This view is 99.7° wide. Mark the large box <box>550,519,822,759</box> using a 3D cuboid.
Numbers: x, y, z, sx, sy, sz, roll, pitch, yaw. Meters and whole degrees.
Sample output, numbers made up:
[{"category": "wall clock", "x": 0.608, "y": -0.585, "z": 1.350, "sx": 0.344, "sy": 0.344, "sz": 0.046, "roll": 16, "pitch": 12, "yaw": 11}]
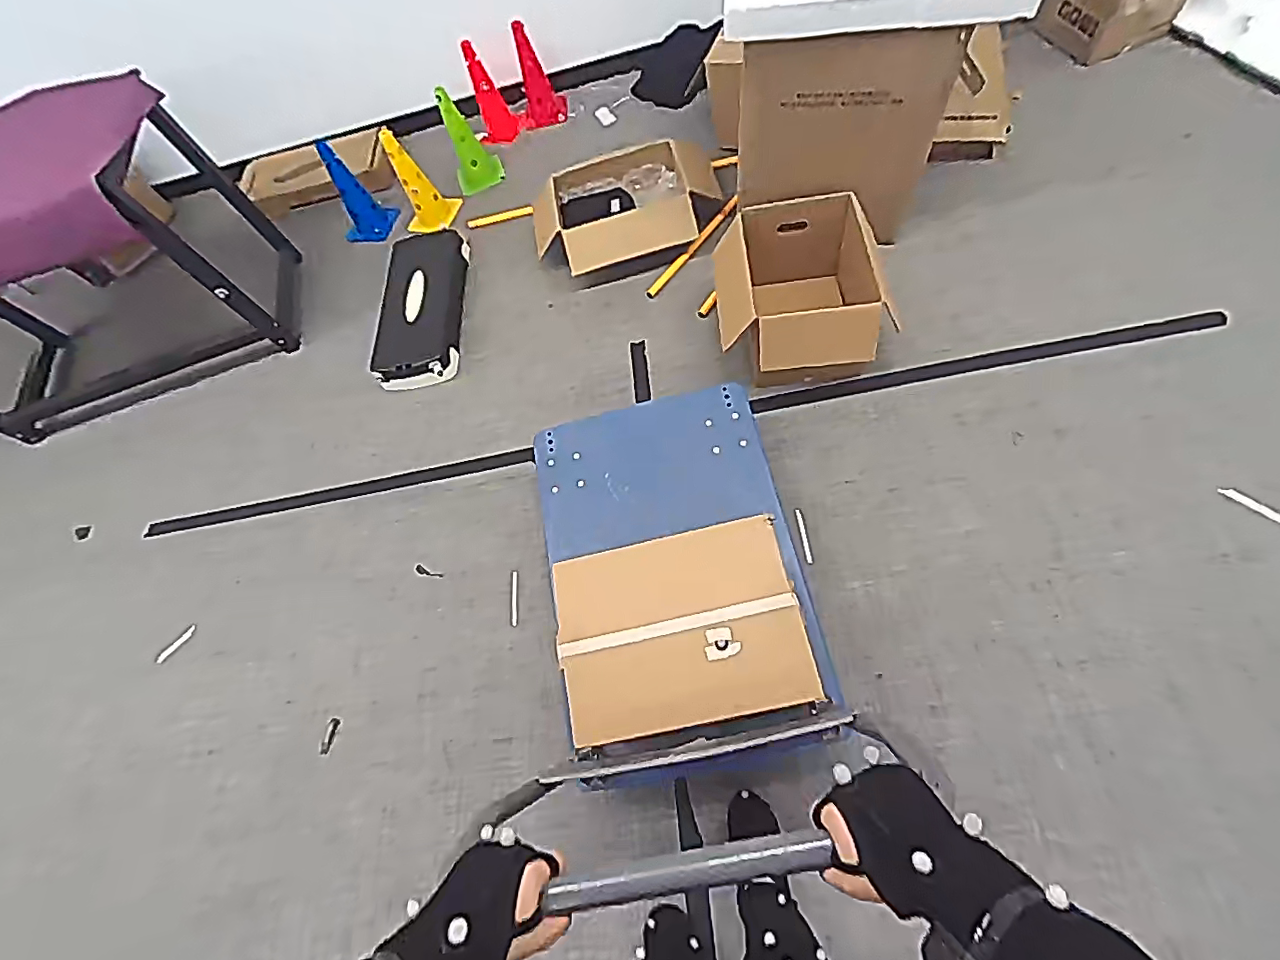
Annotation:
[{"category": "large box", "x": 0.080, "y": 0.311, "z": 1.032, "sx": 0.408, "sy": 0.320, "sz": 0.320, "roll": -14, "pitch": 66, "yaw": 4}]
